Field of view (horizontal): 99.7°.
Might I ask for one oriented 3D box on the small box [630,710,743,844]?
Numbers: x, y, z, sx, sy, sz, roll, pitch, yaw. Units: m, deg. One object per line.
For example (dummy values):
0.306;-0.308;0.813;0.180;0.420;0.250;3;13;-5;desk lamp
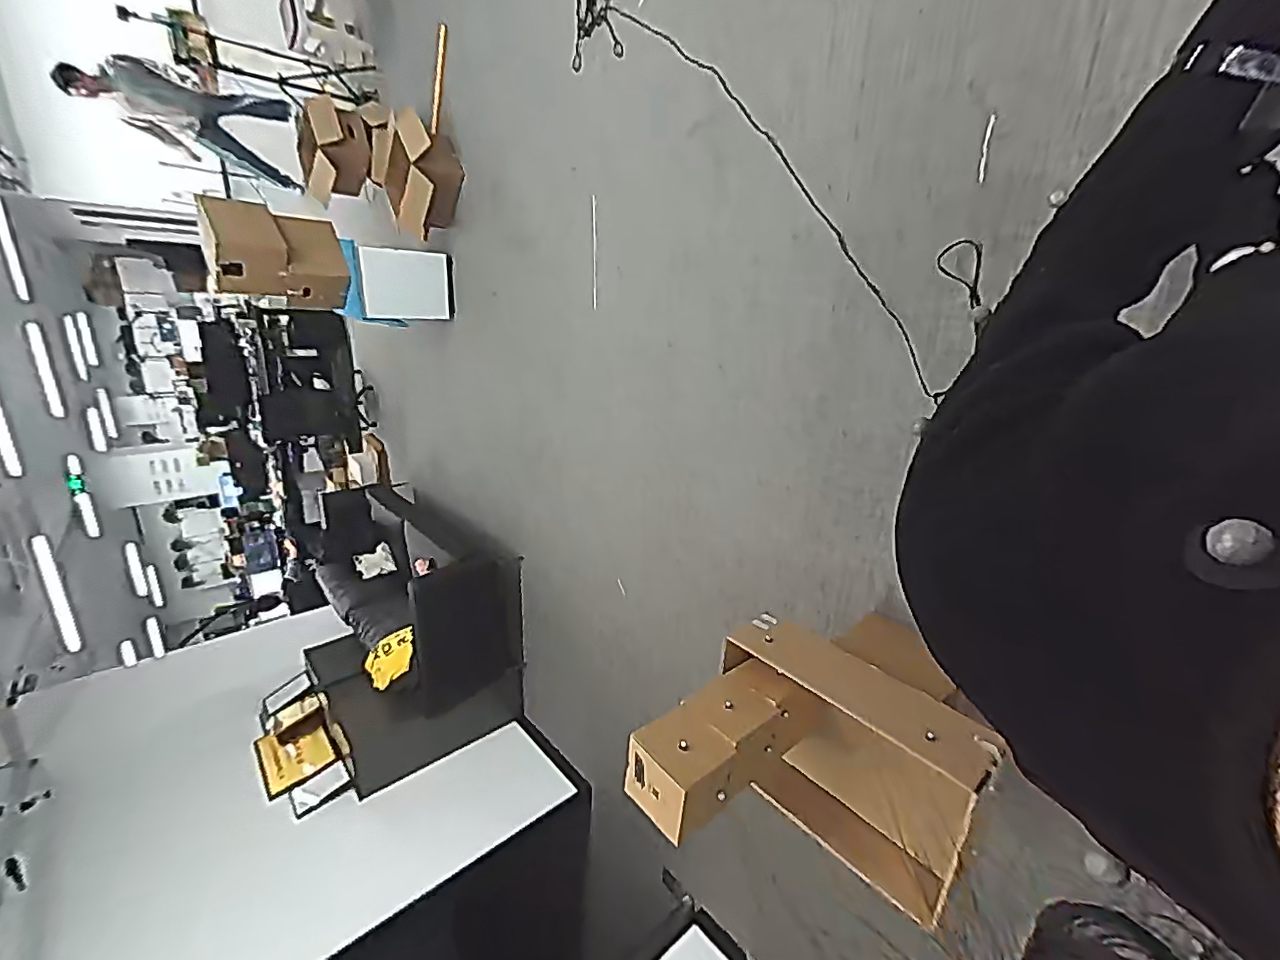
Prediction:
0.101;0.645;1.206;0.179;0.176;0.168;26;119;43;small box
